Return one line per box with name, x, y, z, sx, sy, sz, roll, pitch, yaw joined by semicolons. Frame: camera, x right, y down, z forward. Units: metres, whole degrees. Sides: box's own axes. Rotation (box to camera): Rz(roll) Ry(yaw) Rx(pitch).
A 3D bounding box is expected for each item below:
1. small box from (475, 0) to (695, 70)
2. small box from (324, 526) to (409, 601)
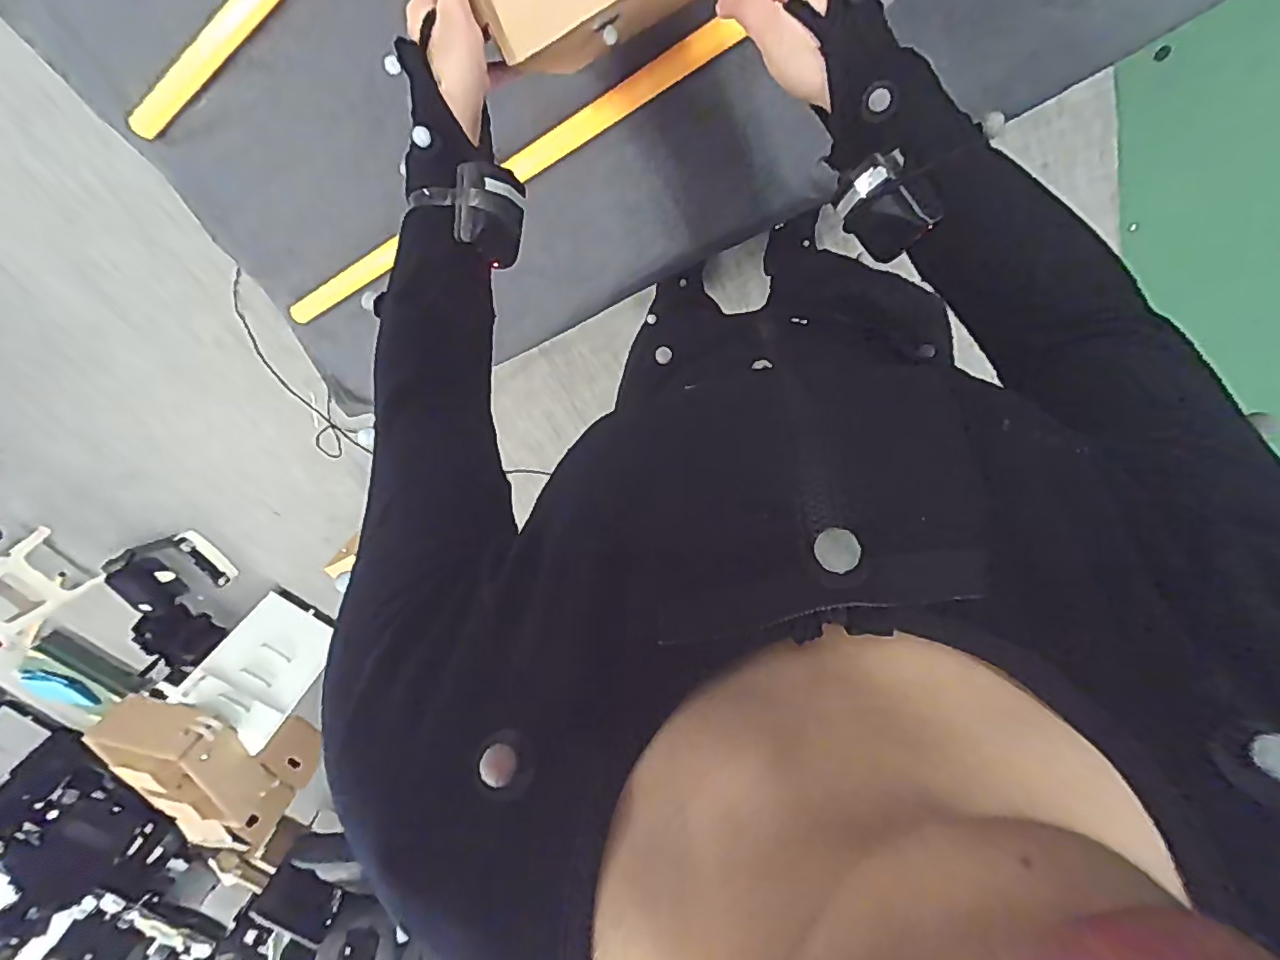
small box;-0.041;-0.439;0.406;0.179;0.176;0.168;-15;122;22
small box;-0.933;0.284;1.869;0.179;0.176;0.168;-23;118;27
